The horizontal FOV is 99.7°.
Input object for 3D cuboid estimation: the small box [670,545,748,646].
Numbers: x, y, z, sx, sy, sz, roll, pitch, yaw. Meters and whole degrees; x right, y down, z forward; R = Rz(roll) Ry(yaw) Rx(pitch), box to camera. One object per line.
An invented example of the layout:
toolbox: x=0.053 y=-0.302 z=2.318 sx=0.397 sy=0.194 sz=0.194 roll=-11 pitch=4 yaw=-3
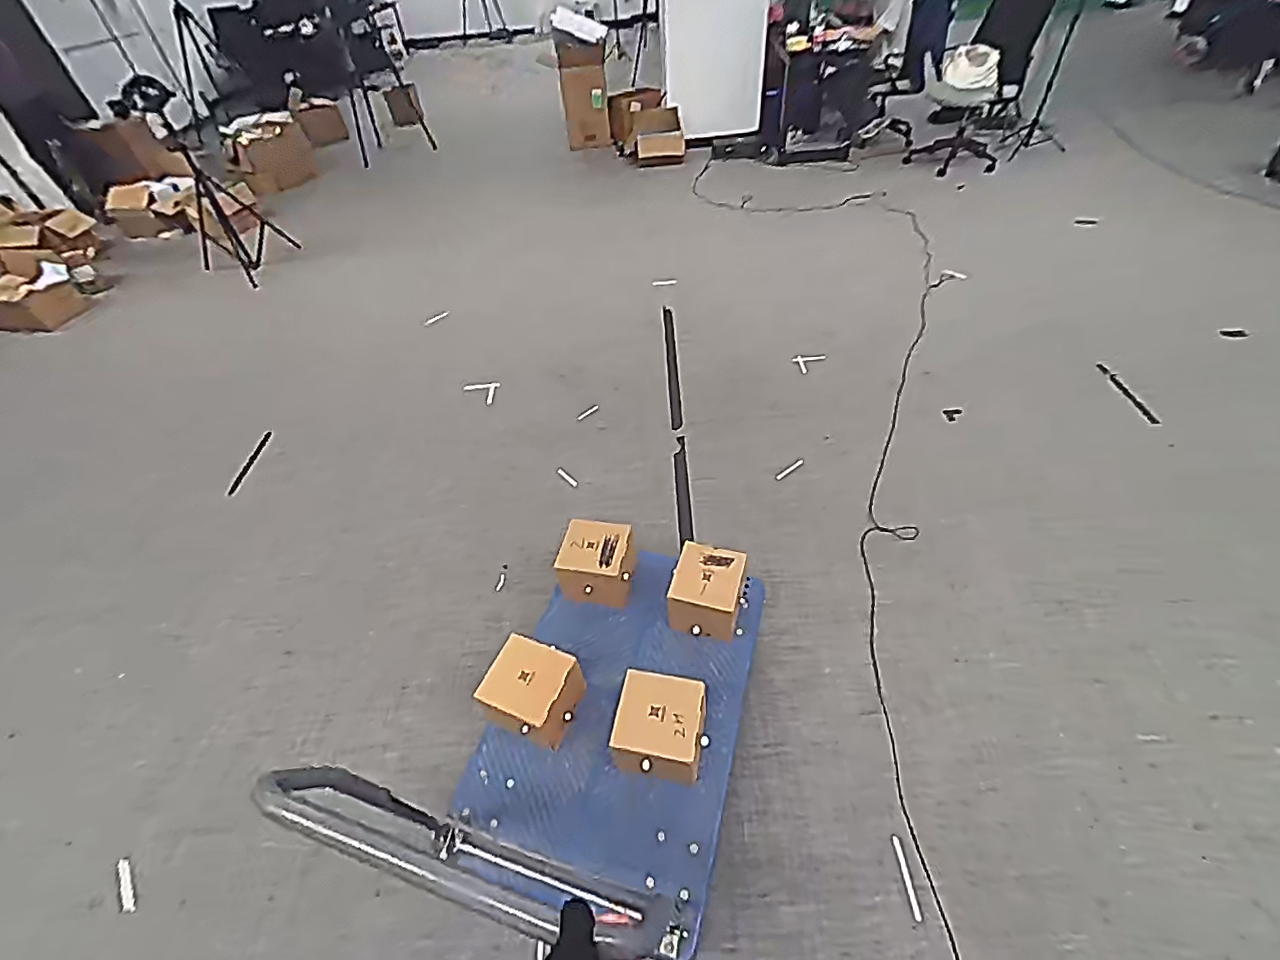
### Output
small box: x=0.180 y=0.300 z=1.404 sx=0.168 sy=0.176 sz=0.179 roll=10 pitch=50 yaw=16

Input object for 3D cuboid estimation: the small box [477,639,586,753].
small box: x=-0.243 y=0.505 z=1.259 sx=0.179 sy=0.176 sz=0.168 roll=14 pitch=49 yaw=17

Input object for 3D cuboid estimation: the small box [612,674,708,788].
small box: x=0.051 y=0.549 z=1.180 sx=0.179 sy=0.176 sz=0.168 roll=6 pitch=48 yaw=12
